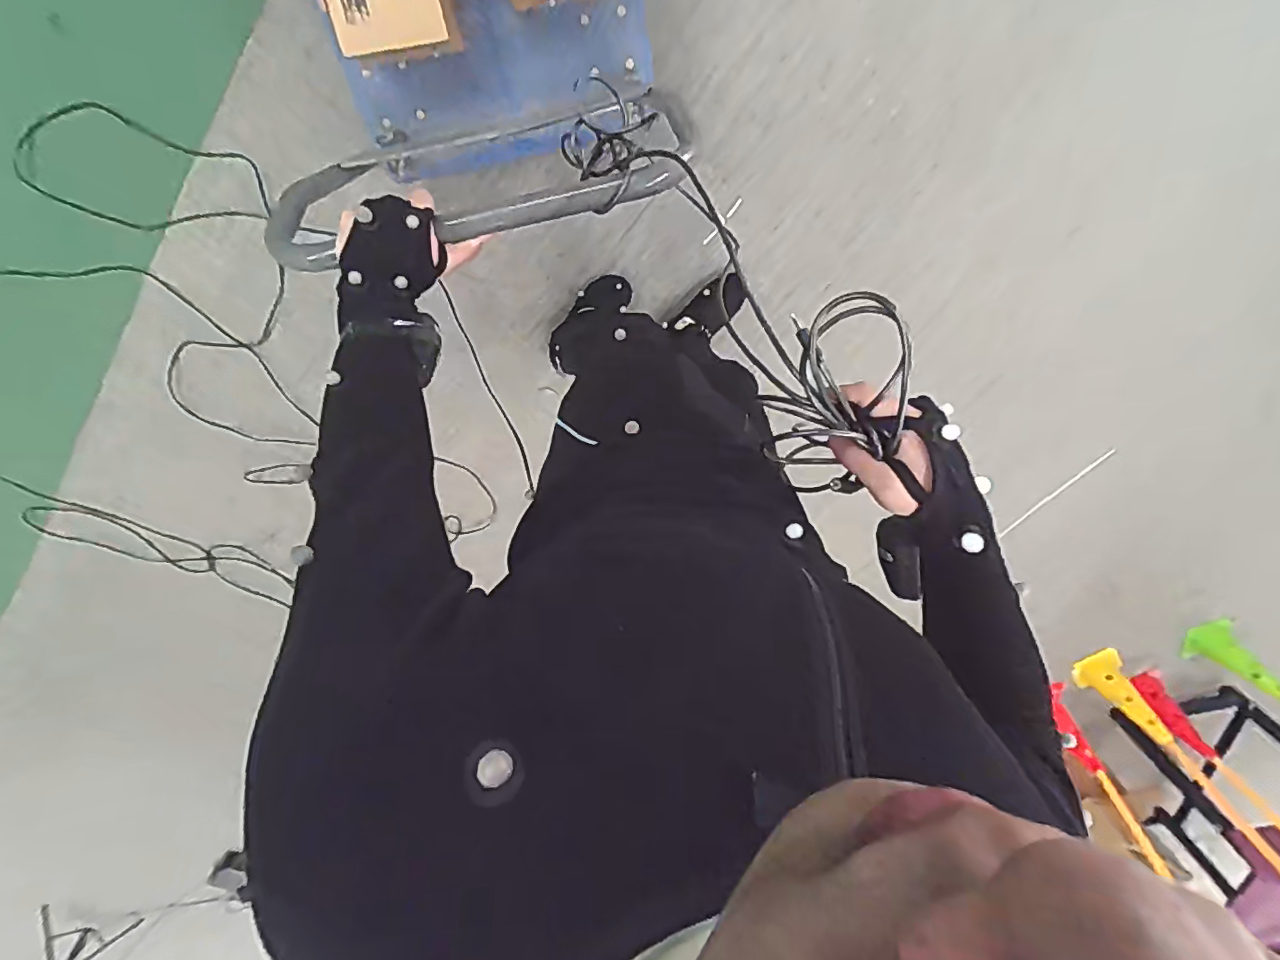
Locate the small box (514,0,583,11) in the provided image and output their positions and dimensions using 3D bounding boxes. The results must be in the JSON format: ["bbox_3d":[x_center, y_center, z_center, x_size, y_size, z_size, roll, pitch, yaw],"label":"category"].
[{"bbox_3d":[-0.152,-0.890,0.866,0.168,0.176,0.179,-11,125,1],"label":"small box"}]
